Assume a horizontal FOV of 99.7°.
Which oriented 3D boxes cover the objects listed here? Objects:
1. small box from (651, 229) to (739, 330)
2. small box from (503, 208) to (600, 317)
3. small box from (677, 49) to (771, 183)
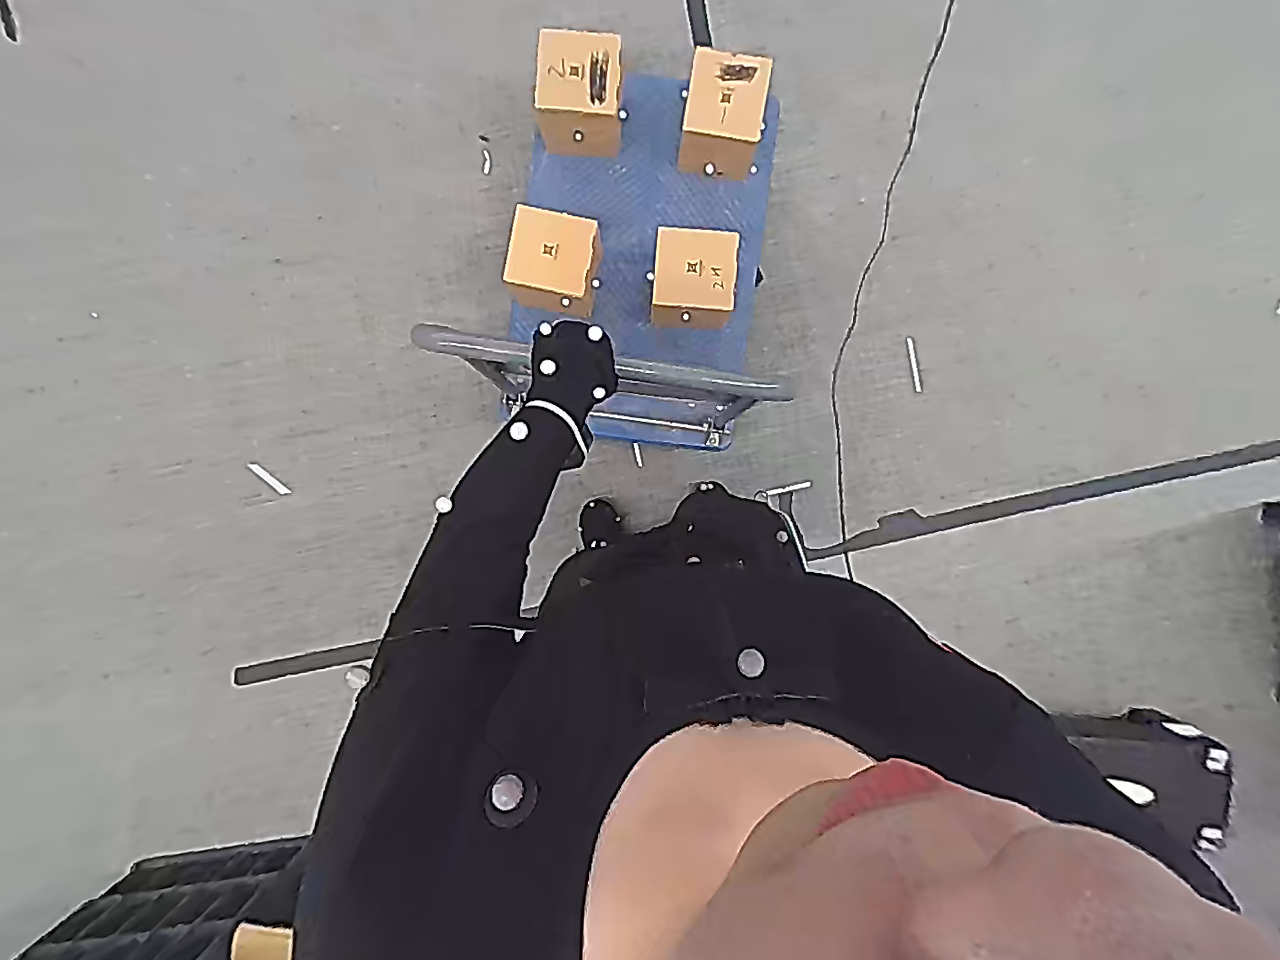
[{"bbox_3d":[0.116,-0.446,1.225,0.179,0.176,0.168,4,92,0],"label":"small box"},{"bbox_3d":[-0.192,-0.481,1.221,0.179,0.176,0.168,11,91,-2],"label":"small box"},{"bbox_3d":[0.180,-0.808,1.215,0.168,0.176,0.179,9,93,-1],"label":"small box"}]
